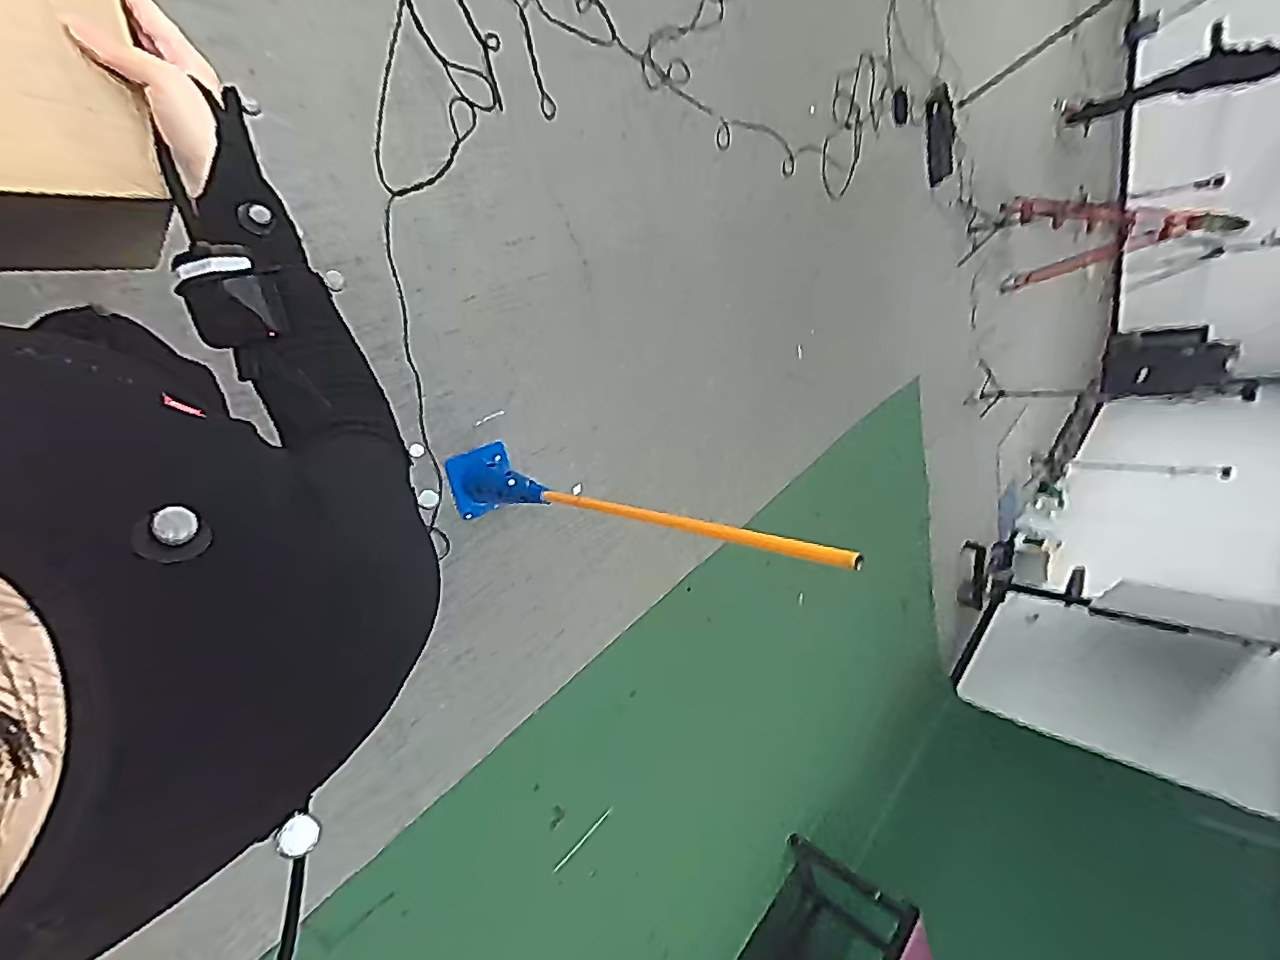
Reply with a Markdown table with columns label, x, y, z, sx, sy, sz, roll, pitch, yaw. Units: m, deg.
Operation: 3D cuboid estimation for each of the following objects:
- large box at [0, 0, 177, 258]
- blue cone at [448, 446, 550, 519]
| label | x | y | z | sx | sy | sz | roll | pitch | yaw |
| --- | --- | --- | --- | --- | --- | --- | --- | --- | --- |
| large box | -0.596 | -0.320 | 0.324 | 0.408 | 0.320 | 0.320 | -21 | 112 | -42 |
| blue cone | -0.375 | 0.024 | 1.536 | 0.193 | 0.380 | 0.192 | -26 | 114 | -38 |
